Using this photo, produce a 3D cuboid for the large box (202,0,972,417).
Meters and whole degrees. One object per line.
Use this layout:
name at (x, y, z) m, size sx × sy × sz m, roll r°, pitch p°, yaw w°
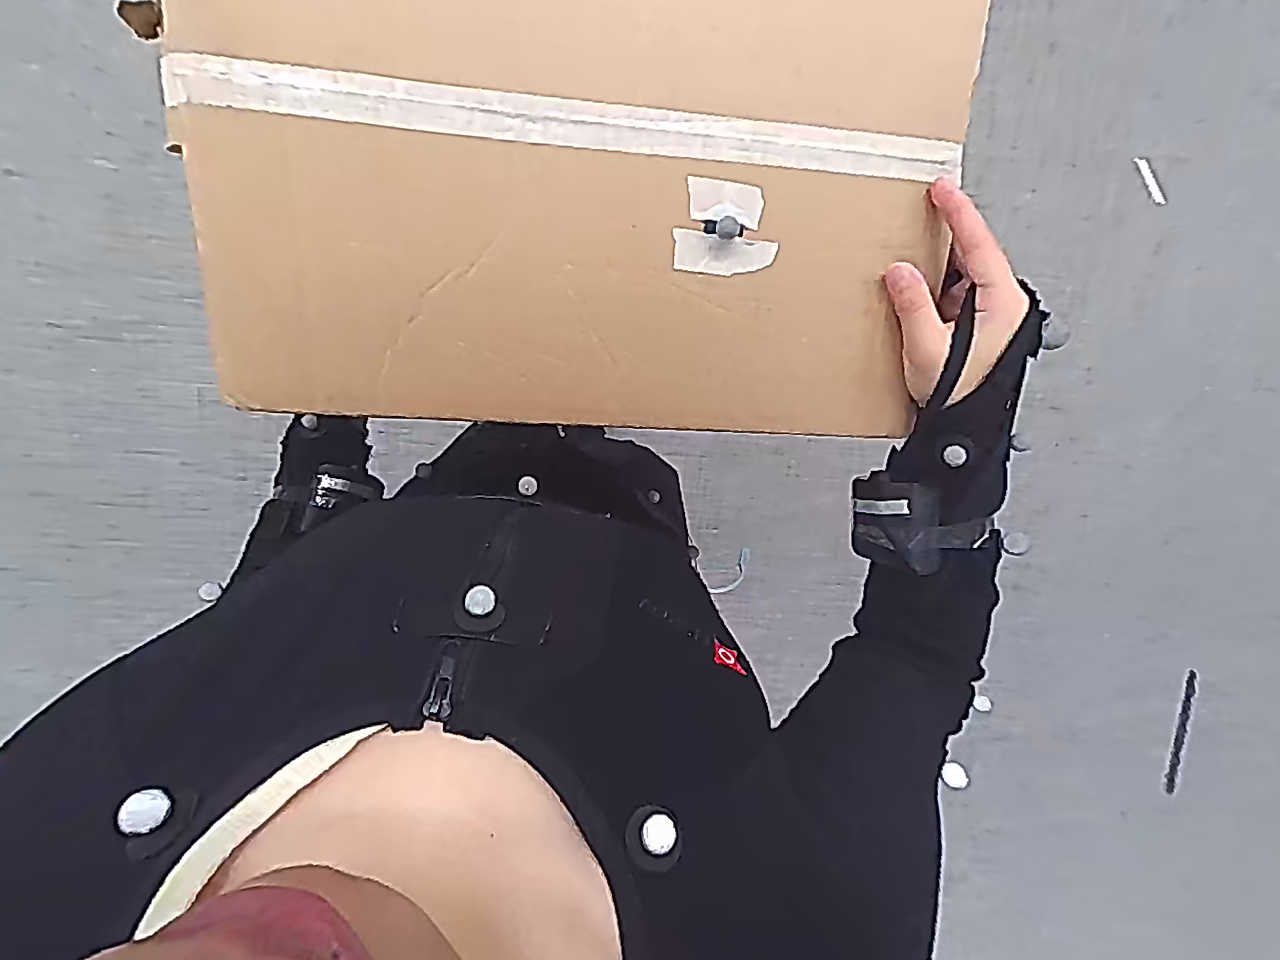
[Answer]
large box at (-0.037, -0.227, 0.437) m, size 0.408 × 0.320 × 0.320 m, roll 1°, pitch 105°, yaw -9°
